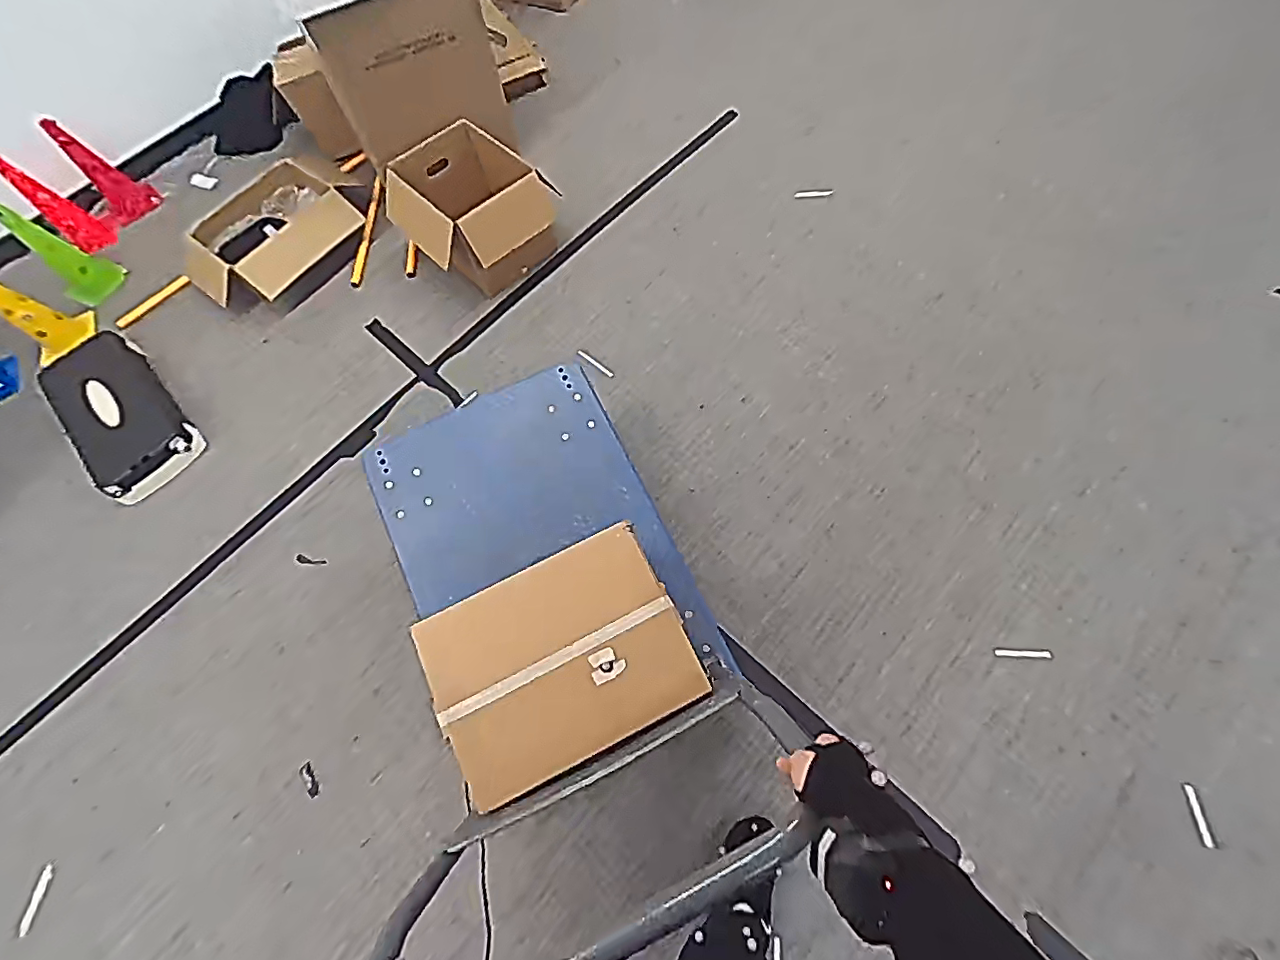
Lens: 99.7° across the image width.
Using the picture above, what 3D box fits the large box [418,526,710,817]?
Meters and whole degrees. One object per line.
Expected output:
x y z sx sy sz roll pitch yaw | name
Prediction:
-0.127 0.341 1.025 0.408 0.320 0.320 -27 76 -7 | large box
